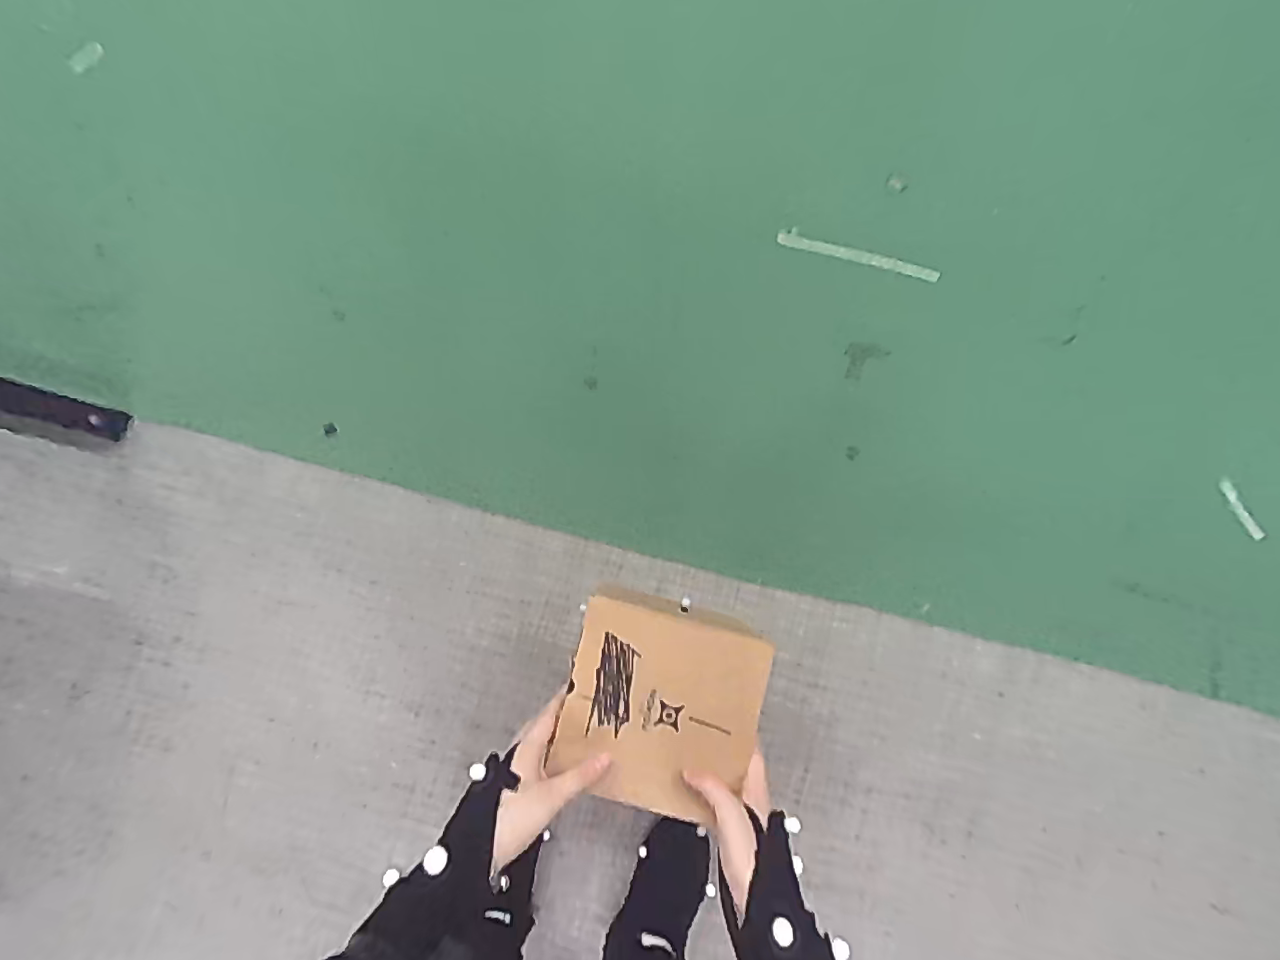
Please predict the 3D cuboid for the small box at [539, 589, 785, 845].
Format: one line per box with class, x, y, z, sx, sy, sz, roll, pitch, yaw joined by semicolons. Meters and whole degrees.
small box;0.018;0.209;0.532;0.179;0.176;0.168;15;83;0
